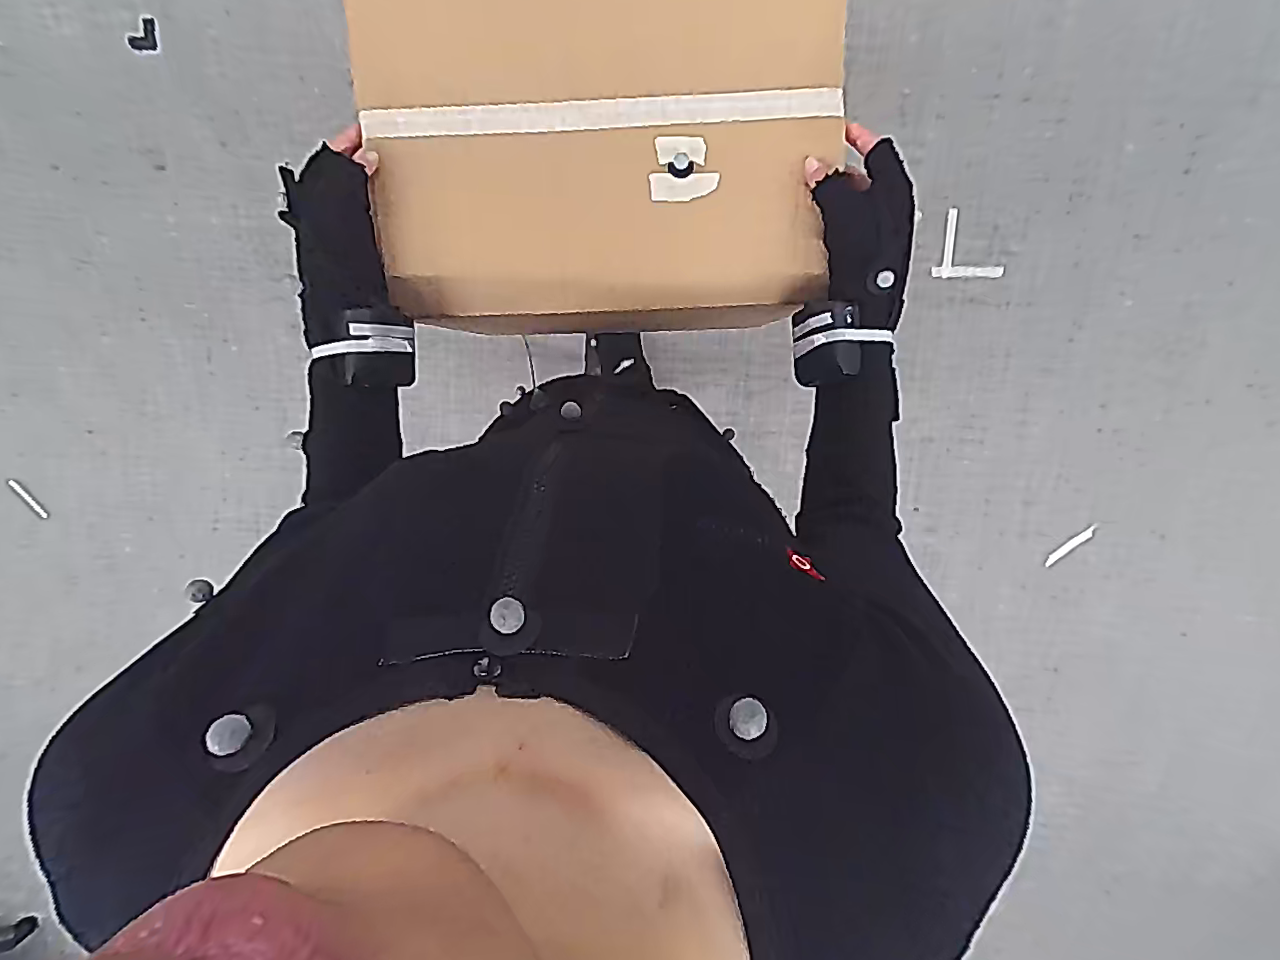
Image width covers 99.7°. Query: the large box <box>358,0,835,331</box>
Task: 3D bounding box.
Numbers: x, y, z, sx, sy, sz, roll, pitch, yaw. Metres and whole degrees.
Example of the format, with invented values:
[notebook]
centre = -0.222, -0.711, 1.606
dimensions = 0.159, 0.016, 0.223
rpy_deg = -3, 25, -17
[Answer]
[large box]
centre = -0.034, -0.348, 0.610
dimensions = 0.408, 0.320, 0.320
rpy_deg = -2, 102, 1
